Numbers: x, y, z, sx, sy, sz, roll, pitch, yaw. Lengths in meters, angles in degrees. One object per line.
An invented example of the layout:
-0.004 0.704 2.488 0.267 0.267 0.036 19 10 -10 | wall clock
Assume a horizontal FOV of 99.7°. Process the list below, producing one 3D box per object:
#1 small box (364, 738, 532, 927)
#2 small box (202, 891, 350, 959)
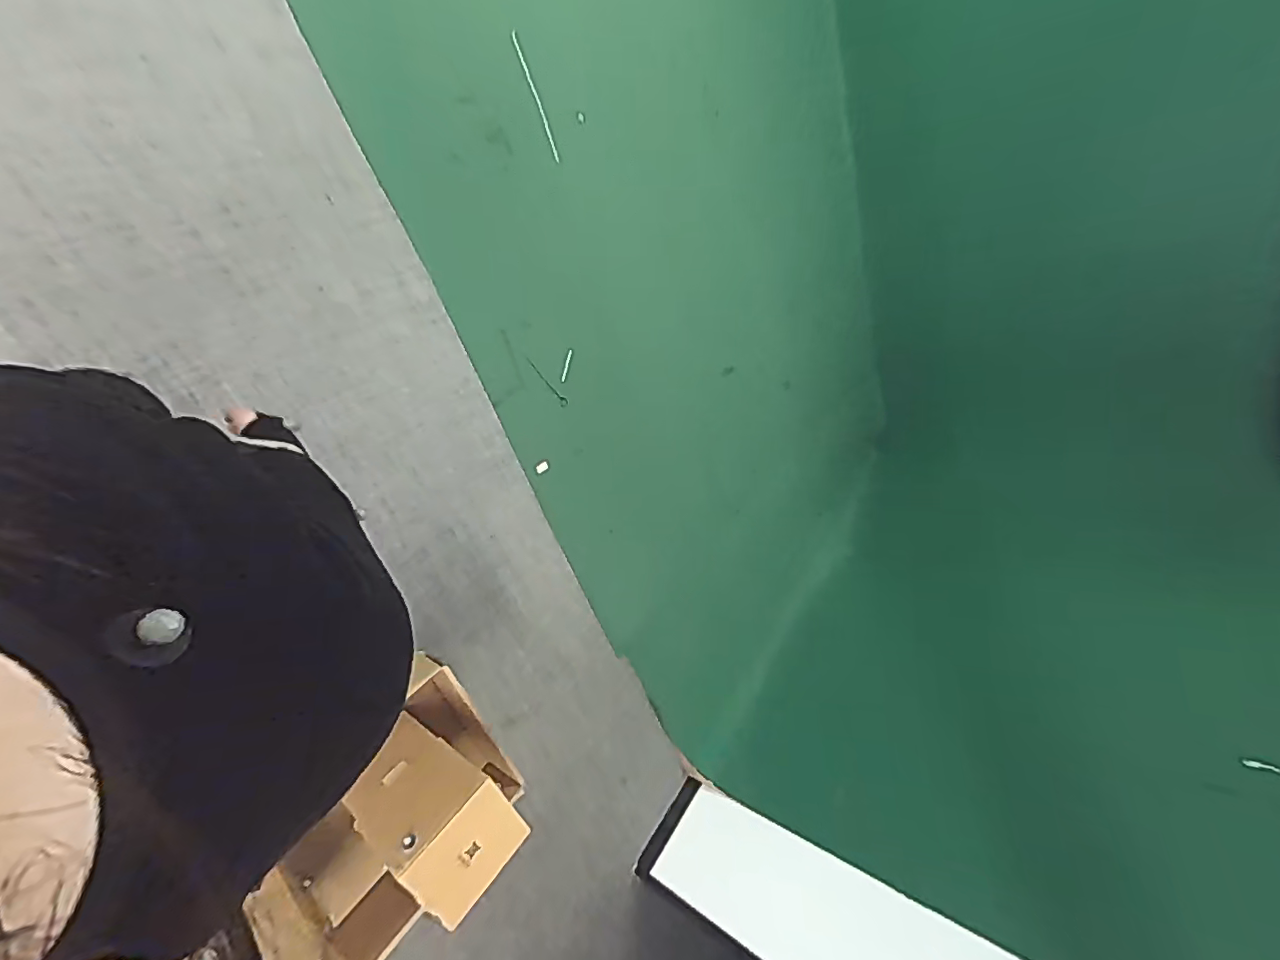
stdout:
-0.323 0.579 0.913 0.179 0.176 0.168 -41 123 -34 | small box
-0.499 0.721 0.743 0.168 0.176 0.179 -34 117 -39 | small box
